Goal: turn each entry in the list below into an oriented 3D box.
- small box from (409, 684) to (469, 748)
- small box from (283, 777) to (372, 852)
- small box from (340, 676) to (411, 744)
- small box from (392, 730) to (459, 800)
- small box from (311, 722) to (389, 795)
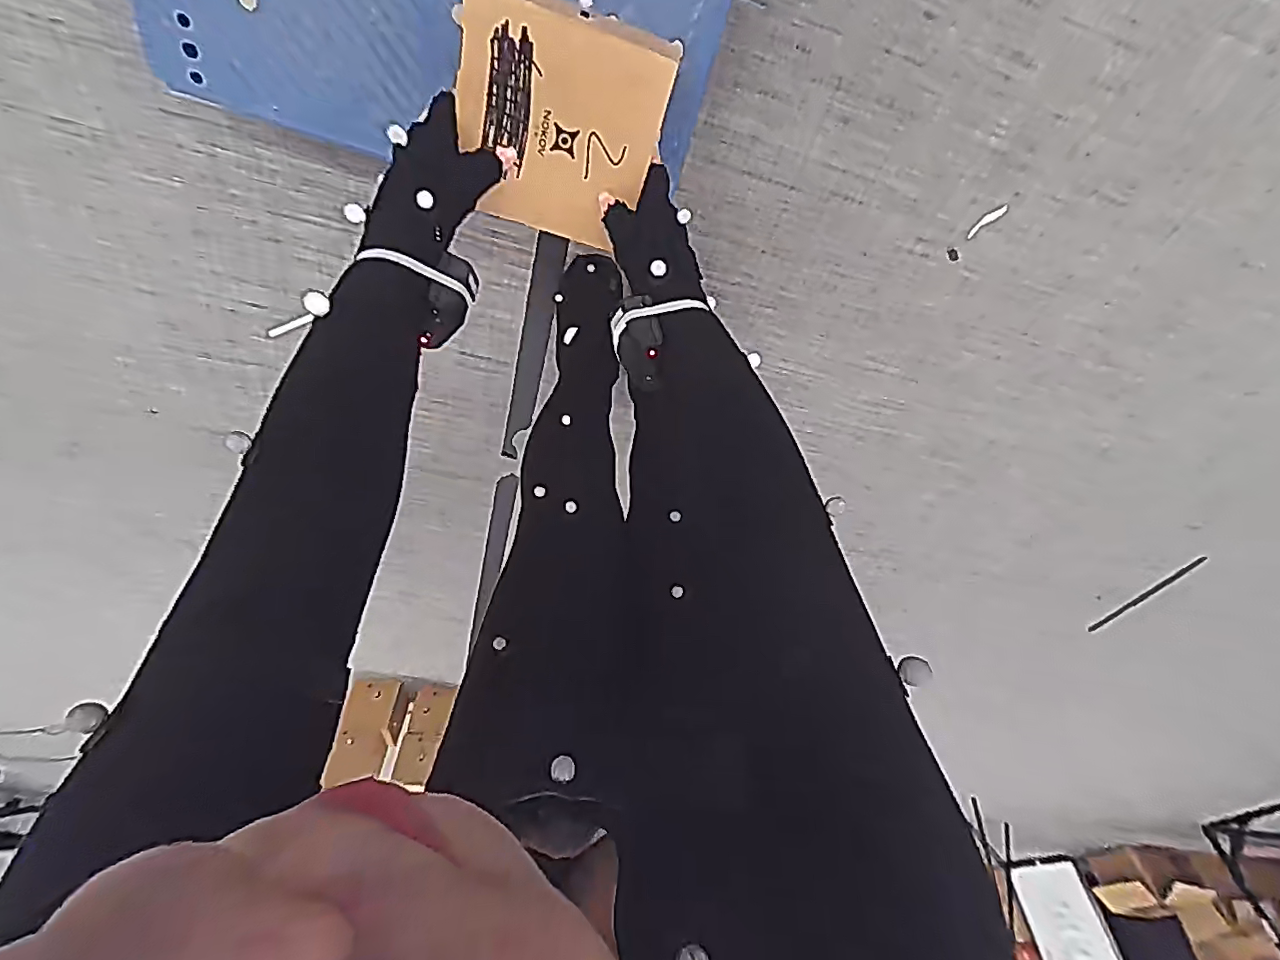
[{"bbox_3d":[-0.731,0.864,1.980,0.168,0.176,0.179,9,134,-7],"label":"small box"},{"bbox_3d":[-0.977,1.056,1.708,0.168,0.176,0.179,4,133,-3],"label":"small box"},{"bbox_3d":[-0.942,0.825,1.942,0.168,0.176,0.179,5,133,-5],"label":"small box"},{"bbox_3d":[-0.734,0.982,1.865,0.168,0.176,0.179,6,133,-5],"label":"small box"},{"bbox_3d":[-0.968,0.939,1.823,0.168,0.176,0.179,6,132,-5],"label":"small box"}]
